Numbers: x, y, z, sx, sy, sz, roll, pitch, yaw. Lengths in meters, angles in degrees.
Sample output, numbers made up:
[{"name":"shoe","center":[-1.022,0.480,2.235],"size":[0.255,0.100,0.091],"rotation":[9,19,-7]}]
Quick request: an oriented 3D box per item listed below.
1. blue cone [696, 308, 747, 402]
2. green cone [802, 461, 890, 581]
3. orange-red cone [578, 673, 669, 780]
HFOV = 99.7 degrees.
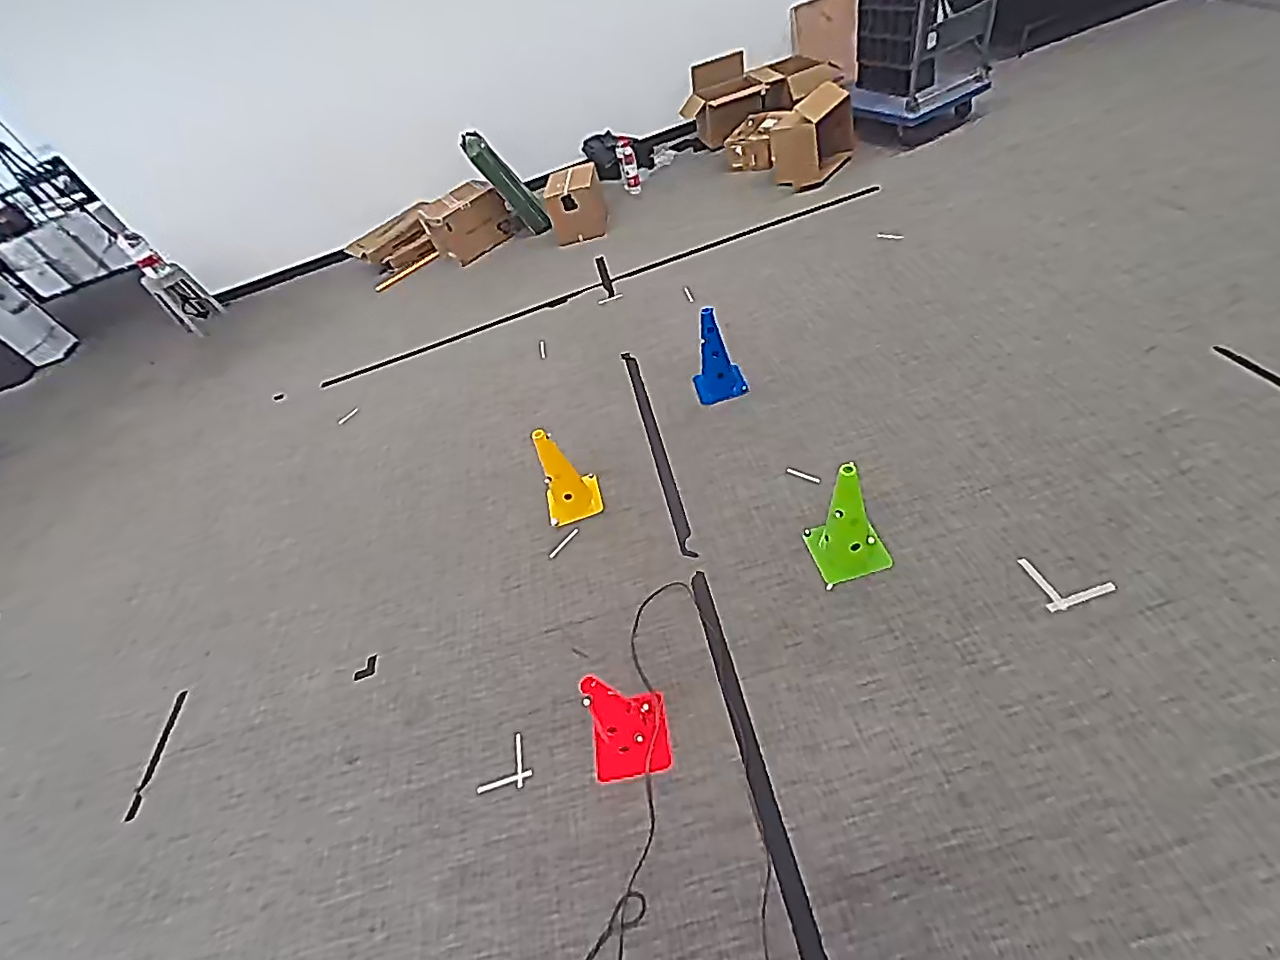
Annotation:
[{"name":"blue cone","center":[0.296,-0.504,2.133],"size":[0.192,0.380,0.193],"rotation":[-15,47,5]},{"name":"green cone","center":[0.567,0.088,1.484],"size":[0.202,0.368,0.200],"rotation":[-17,46,2]},{"name":"orange-red cone","center":[-0.073,0.553,1.294],"size":[0.199,0.360,0.198],"rotation":[-16,45,7]}]
